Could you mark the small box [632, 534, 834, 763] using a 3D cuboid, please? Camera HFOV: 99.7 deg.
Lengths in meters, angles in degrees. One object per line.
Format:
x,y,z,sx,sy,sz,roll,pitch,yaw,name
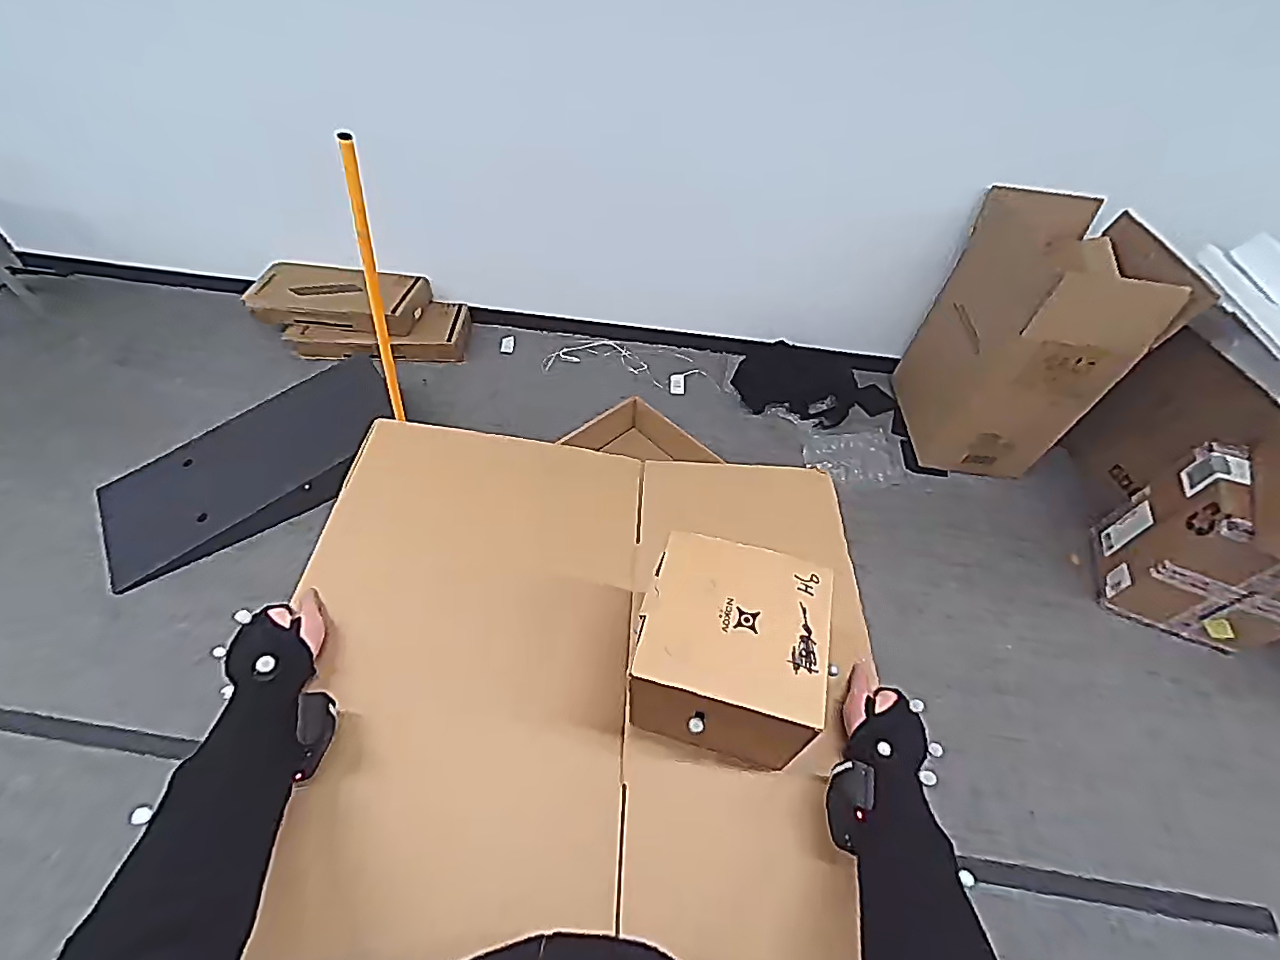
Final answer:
0.098,0.187,0.590,0.179,0.176,0.168,12,52,10,small box
